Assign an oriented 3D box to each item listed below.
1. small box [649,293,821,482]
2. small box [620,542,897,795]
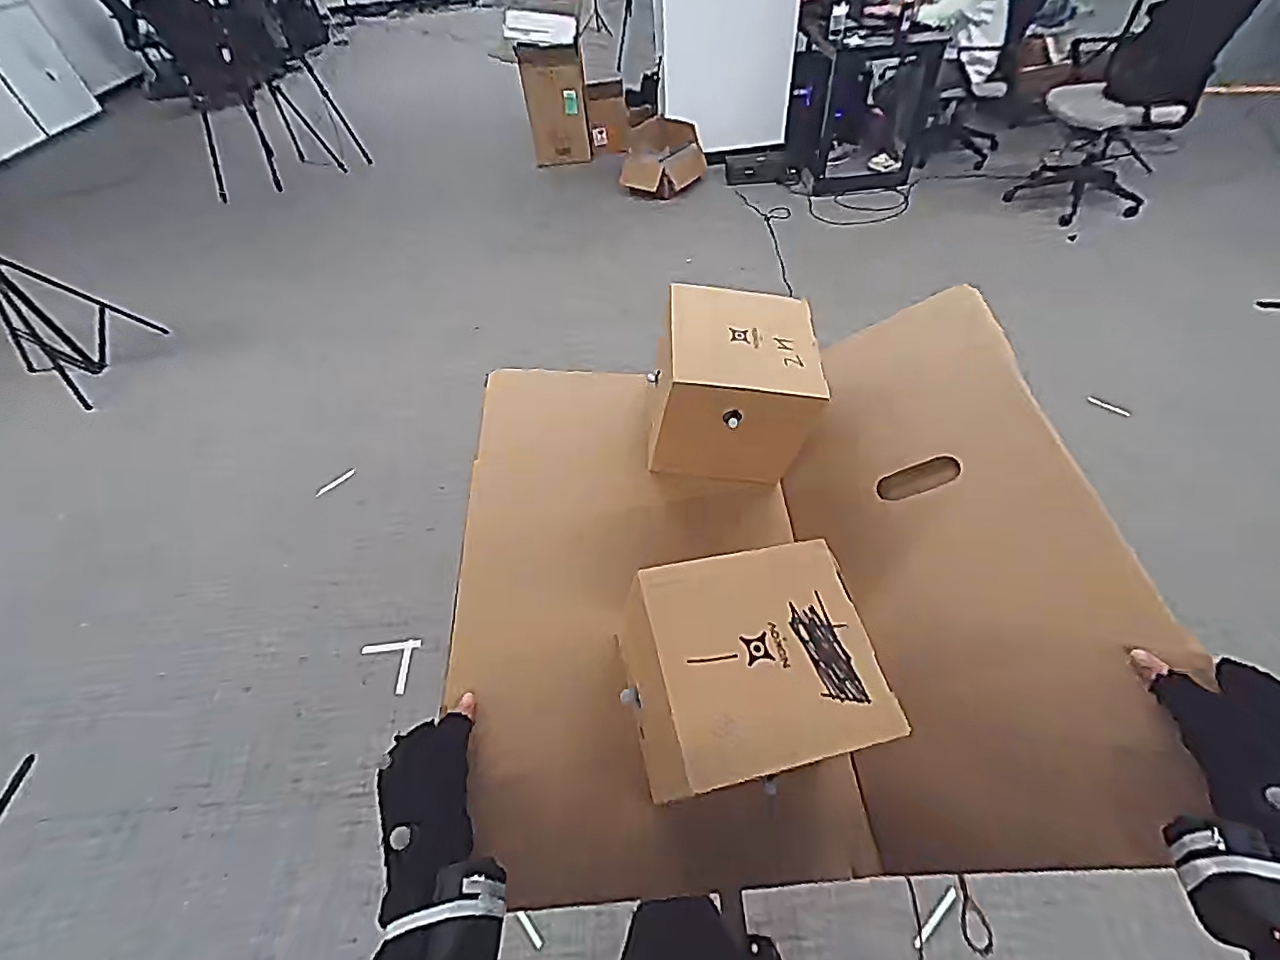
[{"bbox_3d":[0.107,-0.112,0.696,0.179,0.176,0.168,6,56,-6],"label":"small box"},{"bbox_3d":[0.088,0.177,0.500,0.179,0.176,0.168,-8,58,-13],"label":"small box"}]
